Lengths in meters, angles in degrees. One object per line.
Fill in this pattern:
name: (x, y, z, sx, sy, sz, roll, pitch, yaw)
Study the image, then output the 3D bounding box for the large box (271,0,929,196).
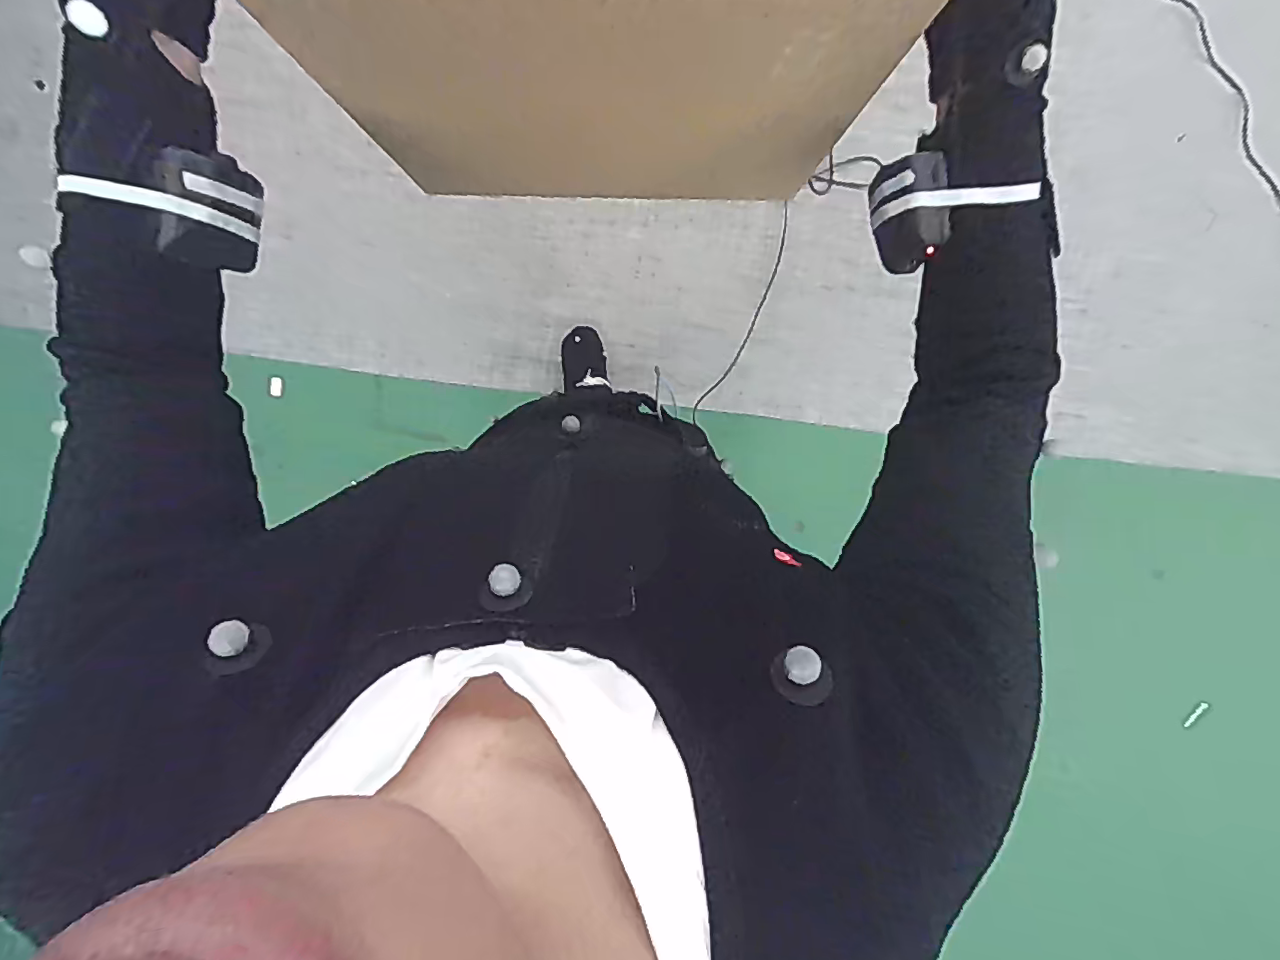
large box: (-0.029, -0.445, 0.426, 0.408, 0.320, 0.320, 0, 98, -2)
